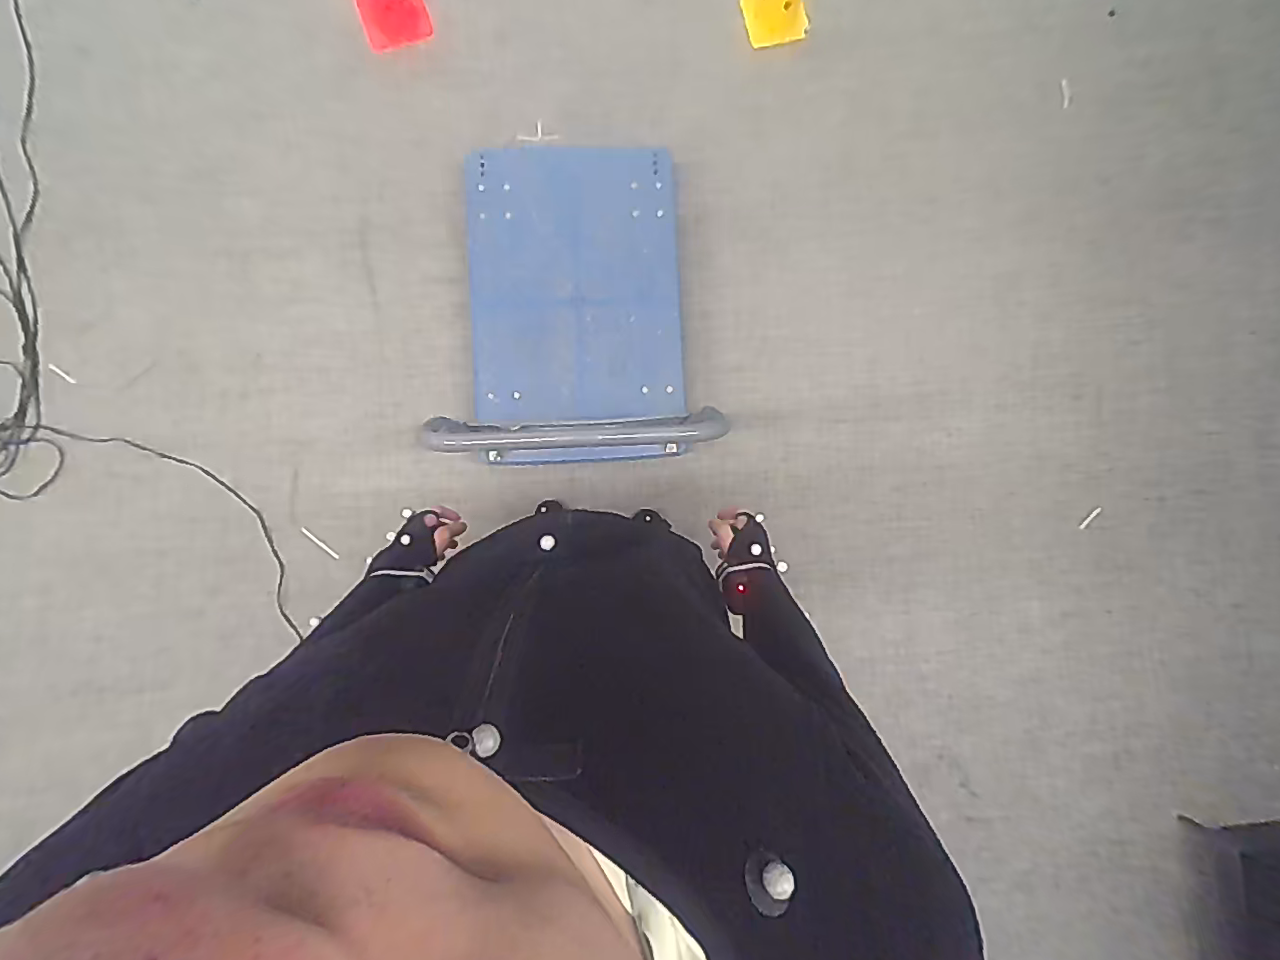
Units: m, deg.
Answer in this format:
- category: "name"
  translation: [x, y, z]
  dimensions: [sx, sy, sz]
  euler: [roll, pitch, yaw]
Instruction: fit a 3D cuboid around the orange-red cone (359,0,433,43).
- category: "orange-red cone"
  translation: [-0.737, -1.442, 1.471]
  dimensions: [0.199, 0.360, 0.198]
  euler: [-18, 89, -2]
